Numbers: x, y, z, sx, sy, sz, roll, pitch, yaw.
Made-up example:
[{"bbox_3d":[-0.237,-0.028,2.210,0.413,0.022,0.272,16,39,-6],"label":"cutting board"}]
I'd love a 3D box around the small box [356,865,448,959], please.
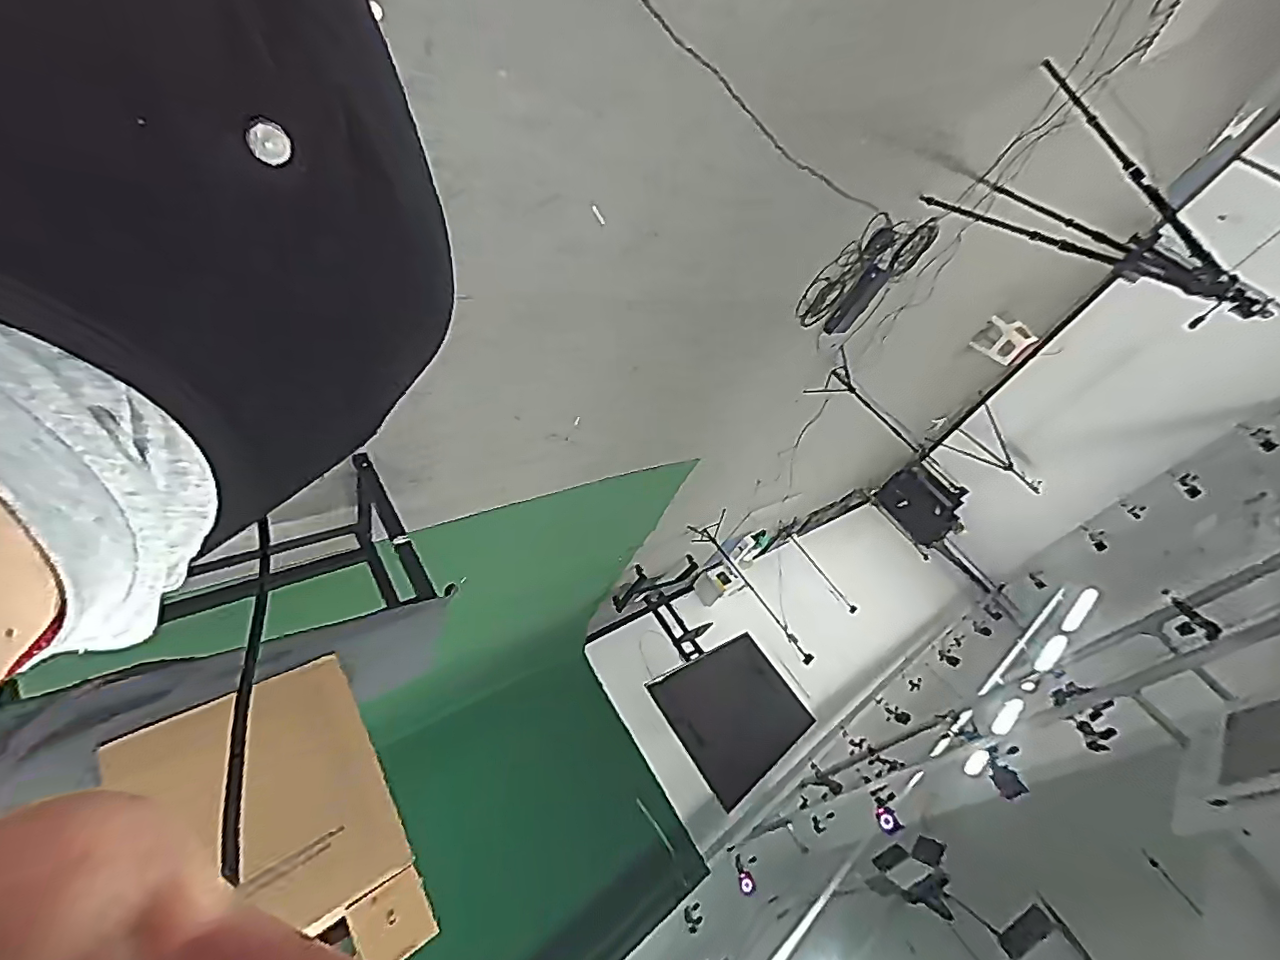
[{"bbox_3d":[-0.610,1.128,1.381,0.168,0.176,0.179,-19,150,-38],"label":"small box"}]
